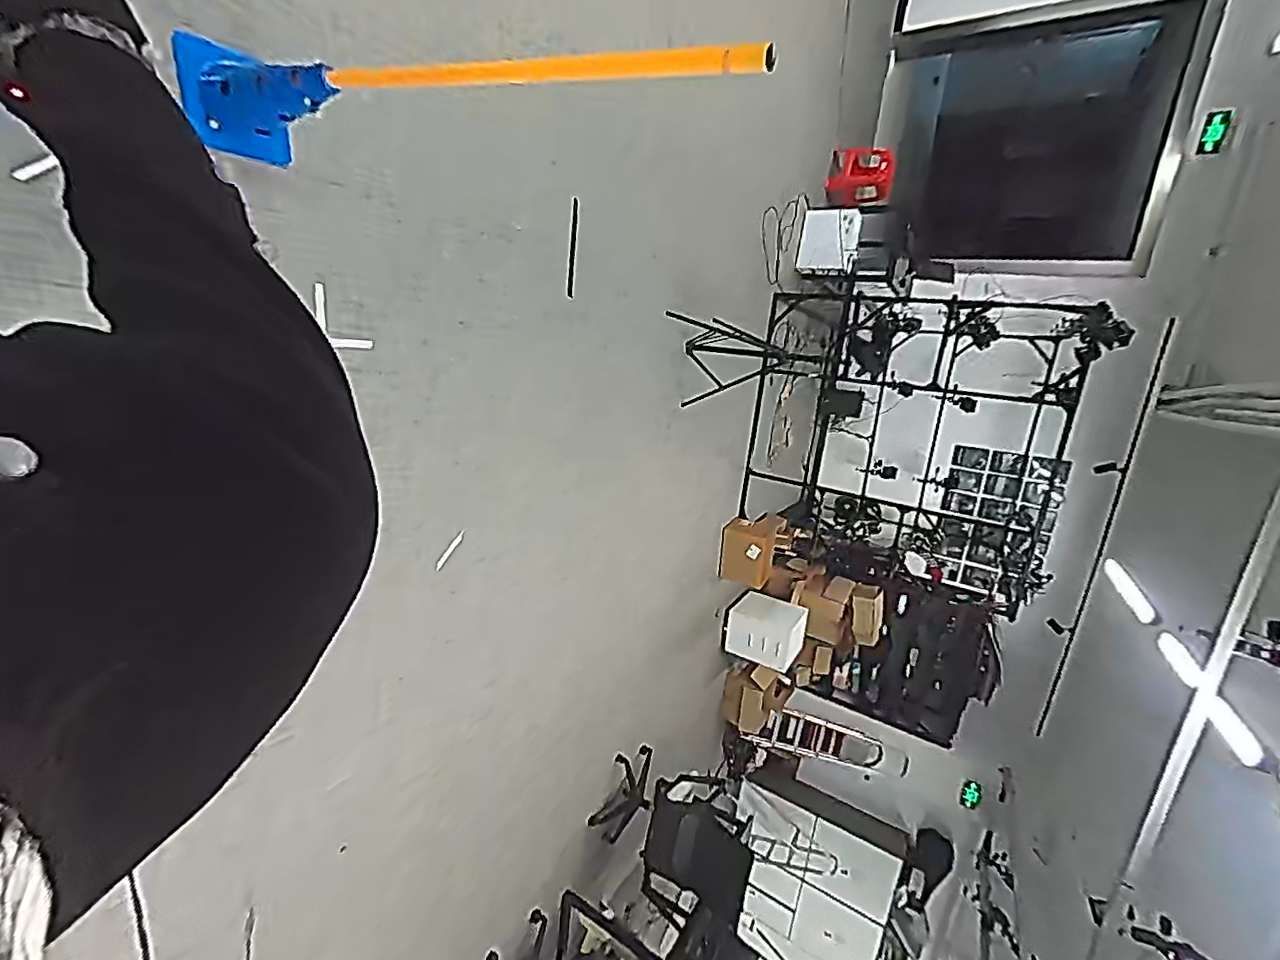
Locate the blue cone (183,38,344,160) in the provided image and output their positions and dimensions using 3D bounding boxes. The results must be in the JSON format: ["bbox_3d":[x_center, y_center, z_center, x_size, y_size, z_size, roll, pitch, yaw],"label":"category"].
[{"bbox_3d":[-0.713,-0.776,1.078,0.193,0.380,0.192,-20,118,-56],"label":"blue cone"}]
